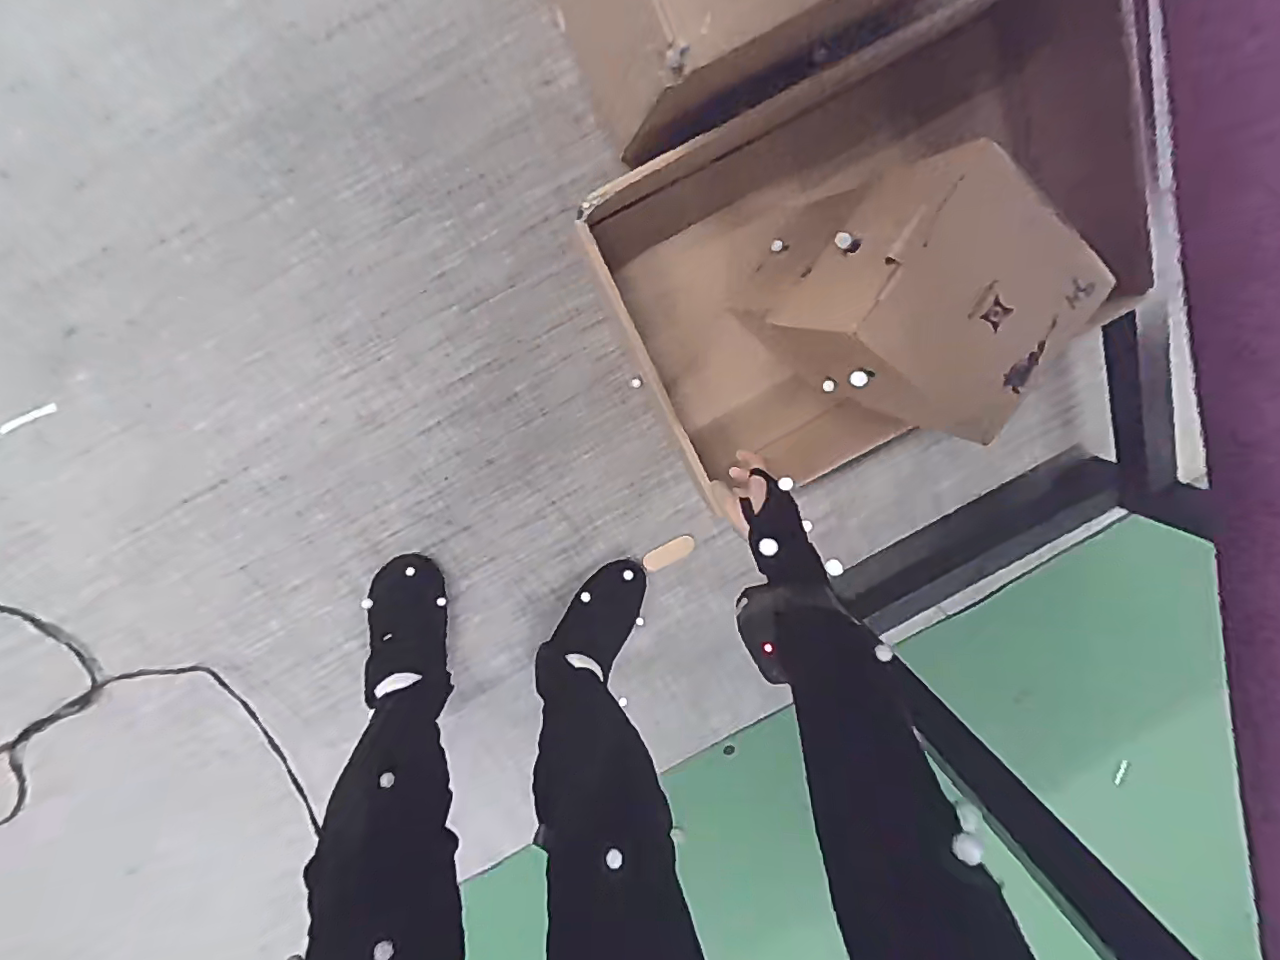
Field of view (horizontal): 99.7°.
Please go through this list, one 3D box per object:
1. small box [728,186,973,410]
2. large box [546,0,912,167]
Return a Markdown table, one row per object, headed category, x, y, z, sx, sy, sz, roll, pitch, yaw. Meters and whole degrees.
| category | x | y | z | sx | sy | sz | roll | pitch | yaw |
| --- | --- | --- | --- | --- | --- | --- | --- | --- | --- |
| small box | 0.239 | -0.212 | 0.653 | 0.179 | 0.176 | 0.168 | 37 | 97 | -19 |
| large box | 0.107 | -0.566 | 0.499 | 0.408 | 0.320 | 0.320 | -28 | 111 | 1 |
